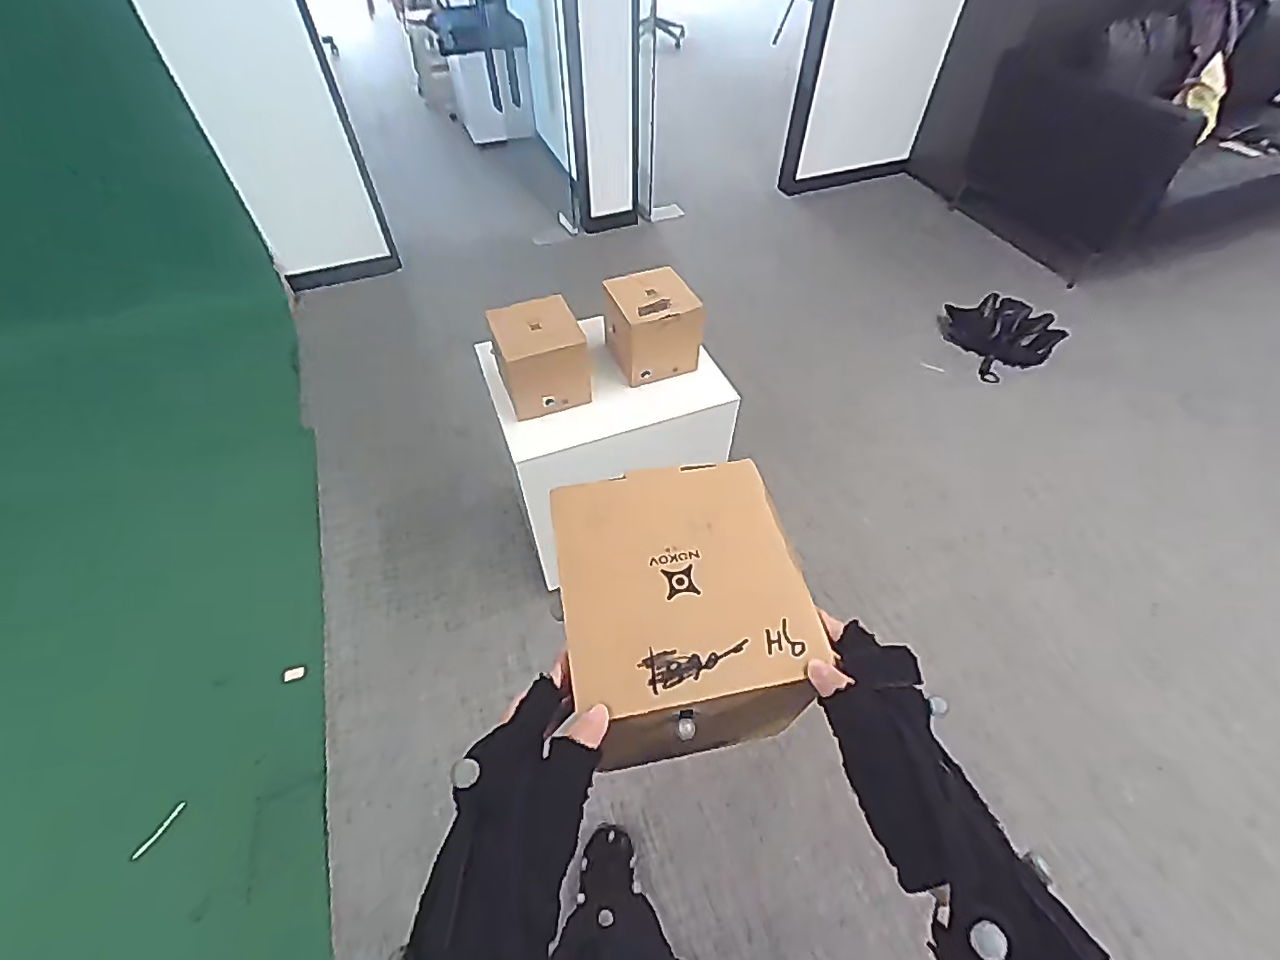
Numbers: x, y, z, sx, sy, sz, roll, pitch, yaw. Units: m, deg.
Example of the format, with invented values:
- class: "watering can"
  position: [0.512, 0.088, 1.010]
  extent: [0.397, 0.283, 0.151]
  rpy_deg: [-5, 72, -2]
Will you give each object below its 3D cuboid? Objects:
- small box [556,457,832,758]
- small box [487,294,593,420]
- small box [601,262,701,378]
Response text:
- class: "small box"
  position: [0.028, 0.109, 0.449]
  extent: [0.168, 0.176, 0.179]
  rpy_deg: [-10, 55, -6]
- class: "small box"
  position: [-0.207, -0.257, 1.139]
  extent: [0.168, 0.176, 0.179]
  rpy_deg: [-20, 56, -14]
- class: "small box"
  position: [0.023, -0.348, 1.202]
  extent: [0.168, 0.176, 0.179]
  rpy_deg: [-19, 54, -13]
